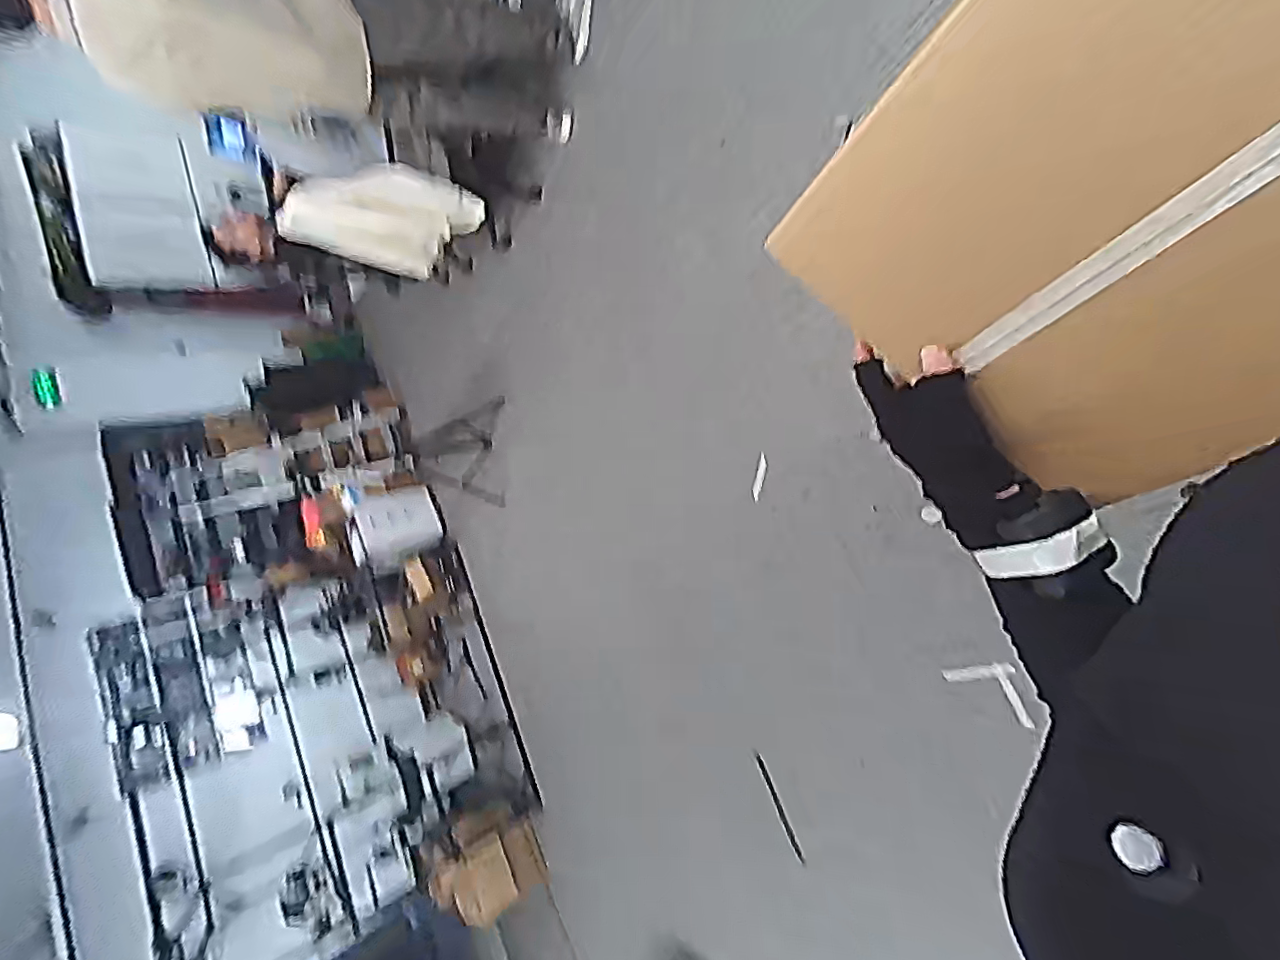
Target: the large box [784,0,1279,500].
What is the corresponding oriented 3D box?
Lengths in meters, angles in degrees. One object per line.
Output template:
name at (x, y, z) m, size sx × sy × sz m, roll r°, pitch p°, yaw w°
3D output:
large box at (0.373, -0.260, 0.353) m, size 0.320 × 0.320 × 0.408 m, roll 39°, pitch 141°, yaw -5°
